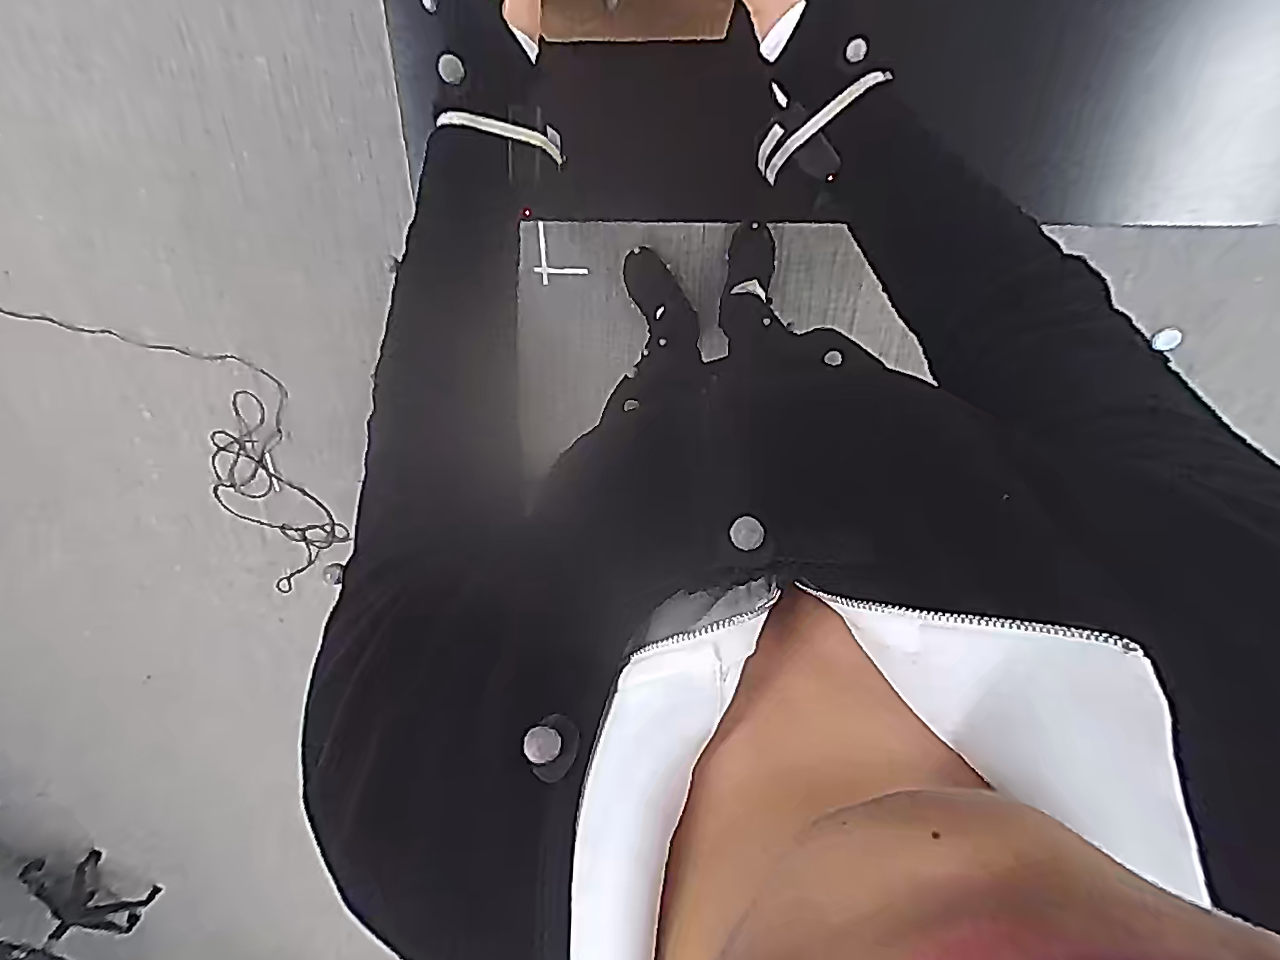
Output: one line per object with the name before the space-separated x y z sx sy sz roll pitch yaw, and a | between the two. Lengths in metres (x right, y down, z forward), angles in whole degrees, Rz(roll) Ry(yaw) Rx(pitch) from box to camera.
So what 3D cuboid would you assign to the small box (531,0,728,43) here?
small box | -0.010 -0.473 0.428 0.179 0.176 0.168 1 114 2
